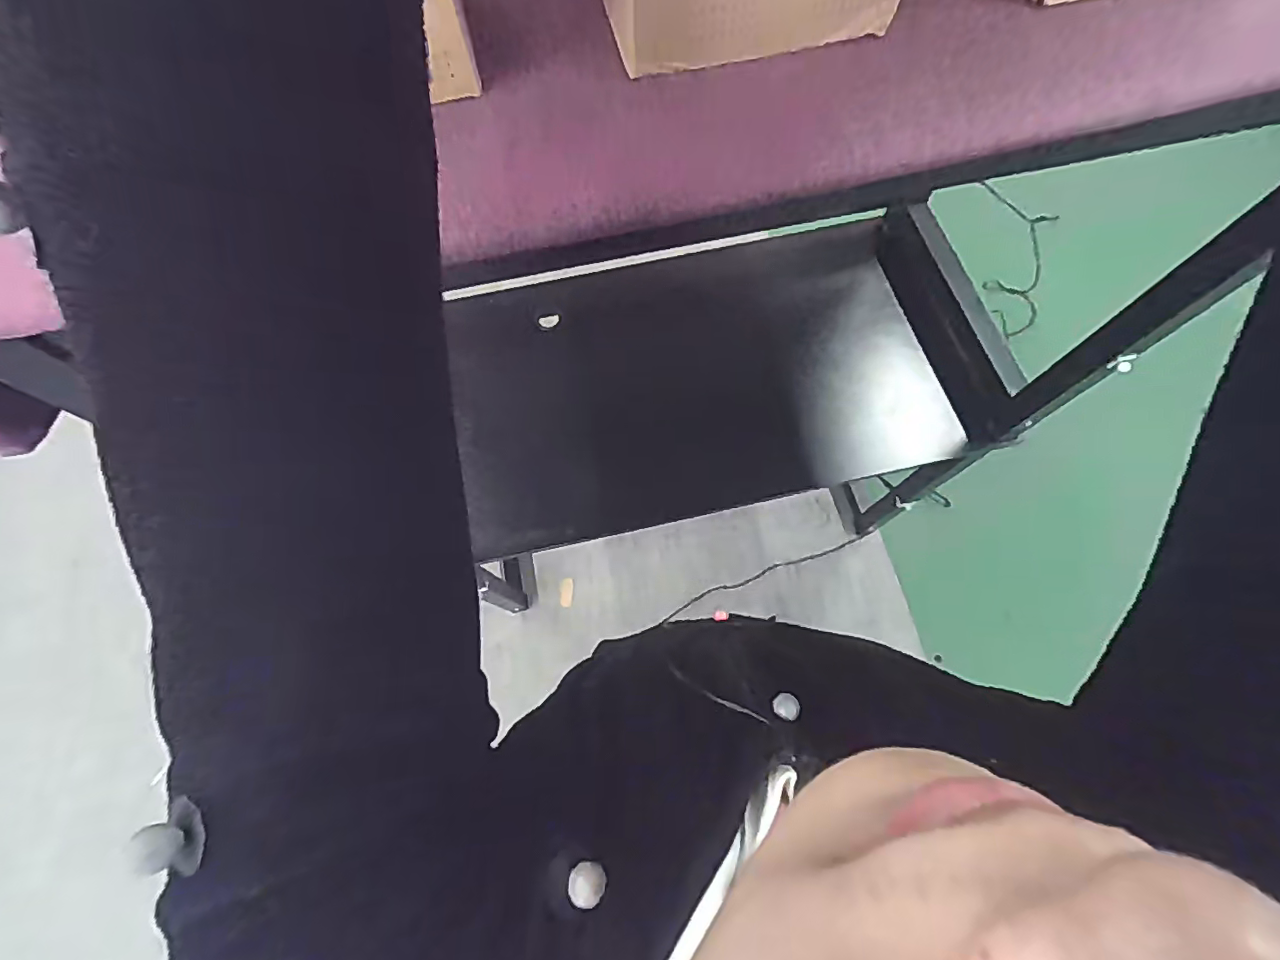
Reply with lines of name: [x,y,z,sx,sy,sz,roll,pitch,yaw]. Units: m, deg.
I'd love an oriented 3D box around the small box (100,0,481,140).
small box: [-0.208,-0.326,0.298,0.179,0.176,0.168,-14,71,-3]
